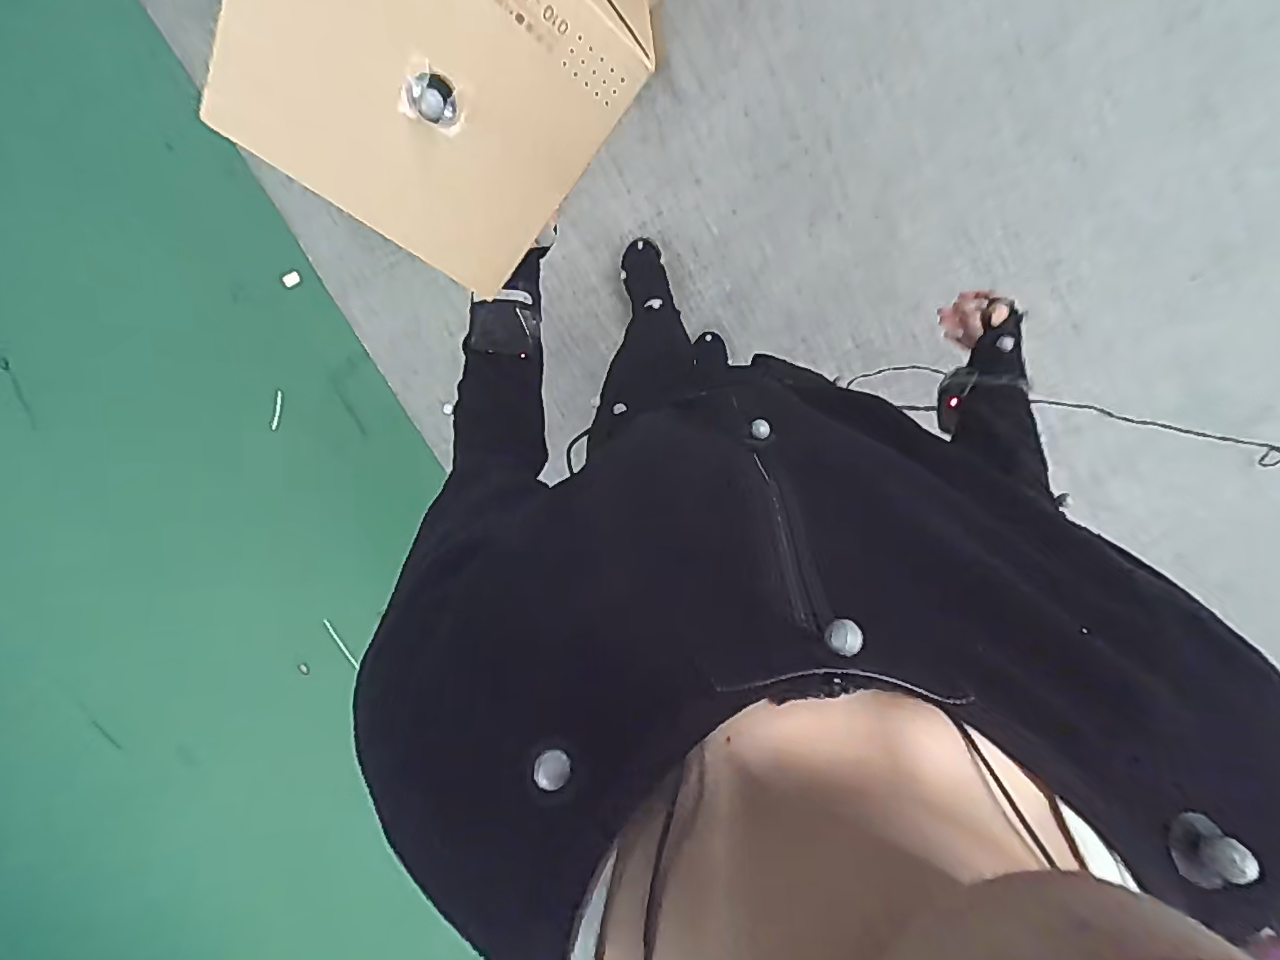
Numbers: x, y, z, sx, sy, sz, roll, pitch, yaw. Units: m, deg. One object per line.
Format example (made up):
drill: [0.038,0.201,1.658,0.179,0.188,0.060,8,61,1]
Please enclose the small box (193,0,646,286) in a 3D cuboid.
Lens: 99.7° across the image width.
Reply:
small box: [-0.111,-0.260,0.313,0.168,0.179,0.176,28,131,-31]
